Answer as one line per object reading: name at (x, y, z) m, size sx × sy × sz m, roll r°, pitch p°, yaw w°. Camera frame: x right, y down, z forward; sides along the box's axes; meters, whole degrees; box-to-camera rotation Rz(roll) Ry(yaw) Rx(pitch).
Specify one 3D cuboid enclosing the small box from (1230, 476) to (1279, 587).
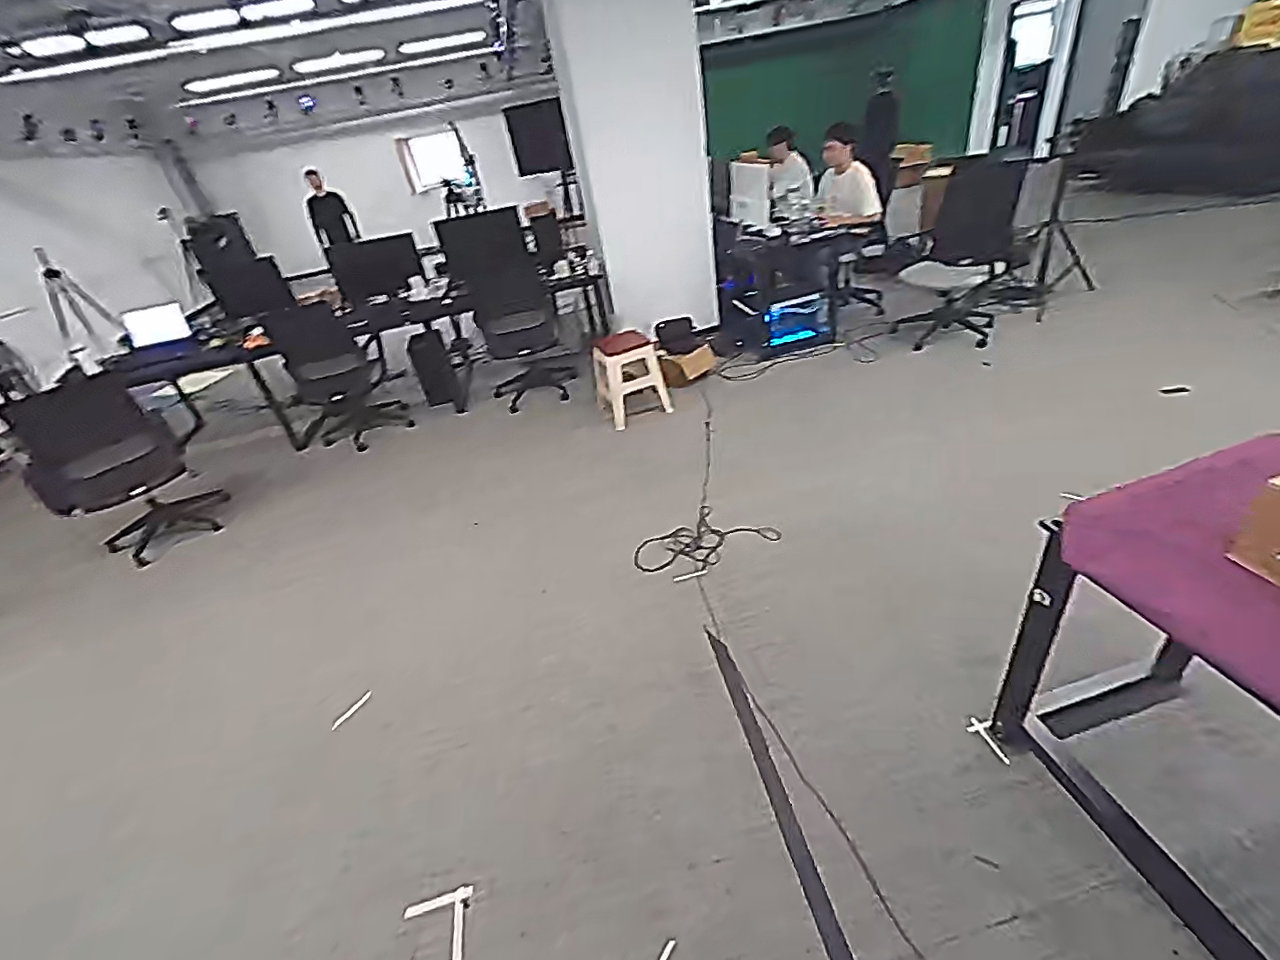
small box at (1.135, 0.087, 0.873) m, size 0.179 × 0.176 × 0.168 m, roll -17°, pitch 34°, yaw -6°
